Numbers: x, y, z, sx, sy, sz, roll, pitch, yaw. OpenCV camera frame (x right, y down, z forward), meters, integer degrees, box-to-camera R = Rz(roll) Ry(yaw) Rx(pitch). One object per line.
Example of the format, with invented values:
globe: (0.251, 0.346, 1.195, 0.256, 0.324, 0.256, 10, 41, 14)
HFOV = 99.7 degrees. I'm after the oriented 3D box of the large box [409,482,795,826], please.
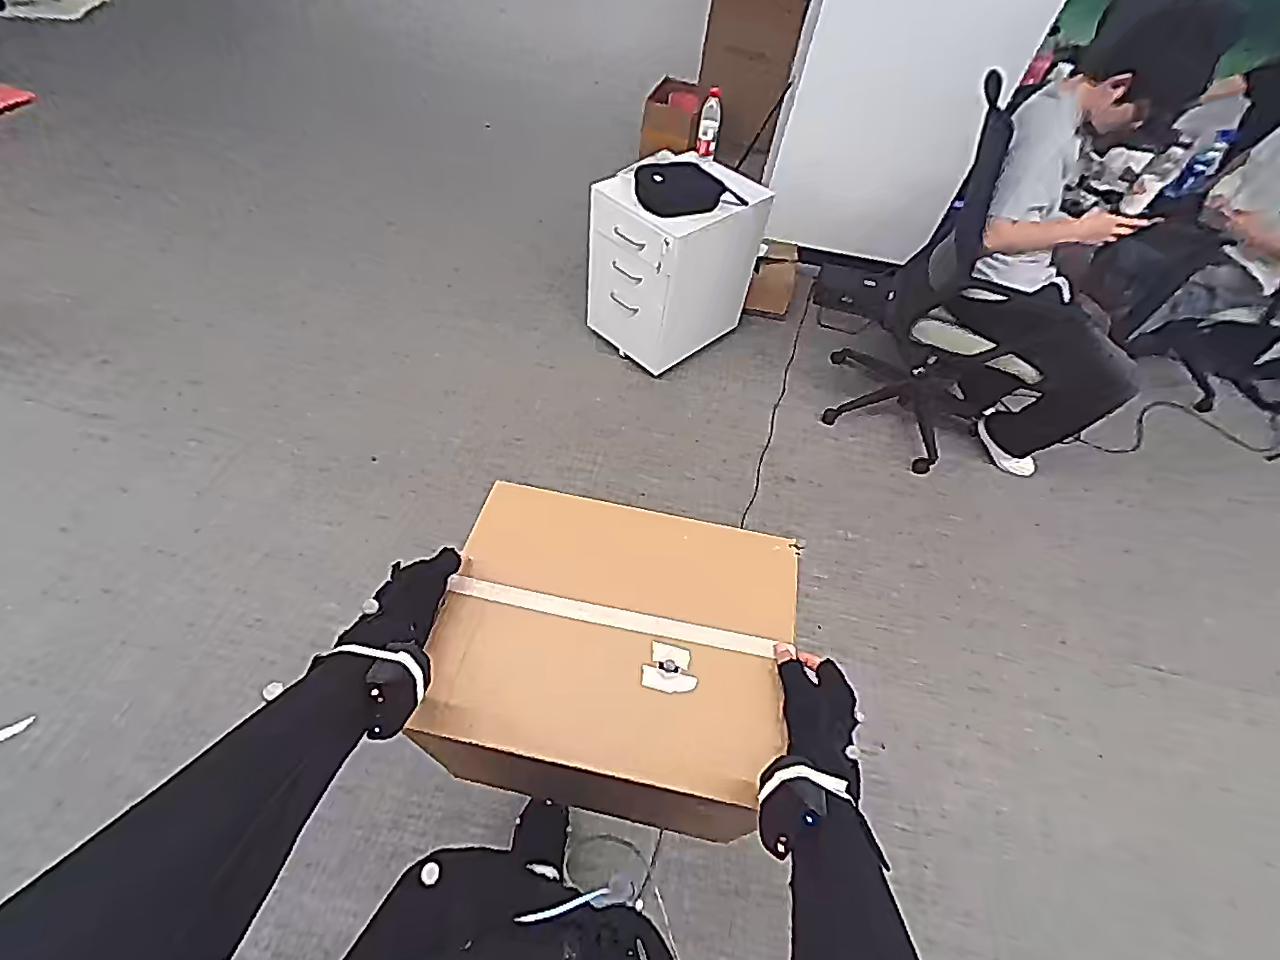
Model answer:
large box: (-0.030, 0.246, 0.751, 0.408, 0.320, 0.320, 12, 54, 4)
